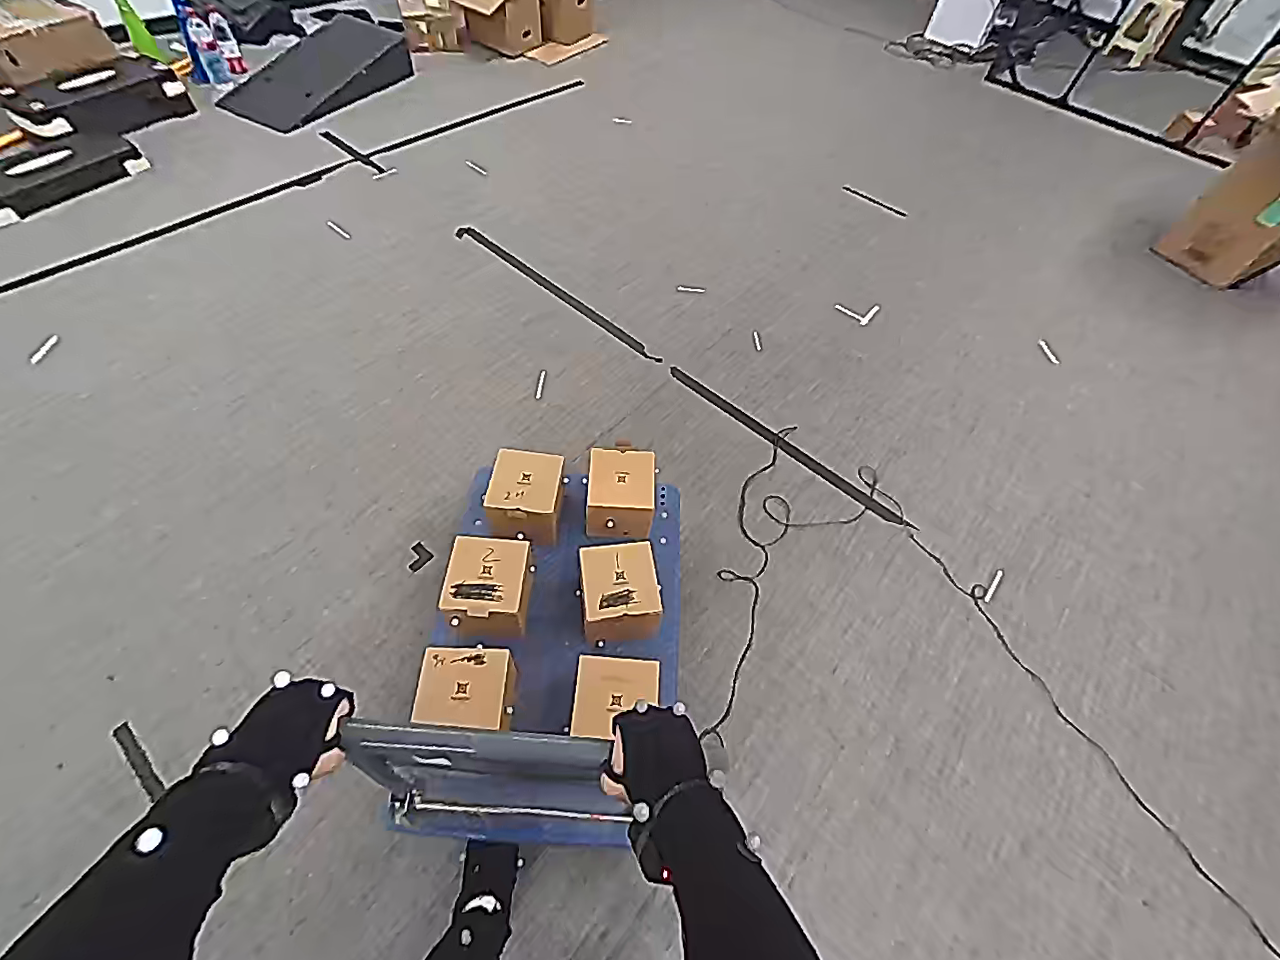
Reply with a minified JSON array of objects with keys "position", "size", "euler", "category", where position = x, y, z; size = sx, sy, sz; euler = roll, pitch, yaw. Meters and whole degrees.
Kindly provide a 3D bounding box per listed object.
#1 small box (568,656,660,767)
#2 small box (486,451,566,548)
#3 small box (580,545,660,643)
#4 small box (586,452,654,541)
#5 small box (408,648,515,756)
[{"position":[-0.054,0.484,1.119],"size":[0.168,0.176,0.179],"euler":[7,54,-3],"category":"small box"},{"position":[-0.285,0.052,1.386],"size":[0.168,0.176,0.179],"euler":[8,56,-2],"category":"small box"},{"position":[-0.052,0.272,1.265],"size":[0.168,0.176,0.179],"euler":[-4,55,-10],"category":"small box"},{"position":[-0.053,0.048,1.421],"size":[0.168,0.176,0.179],"euler":[4,55,-4],"category":"small box"},{"position":[-0.351,0.456,1.100],"size":[0.168,0.176,0.179],"euler":[4,56,-6],"category":"small box"}]
